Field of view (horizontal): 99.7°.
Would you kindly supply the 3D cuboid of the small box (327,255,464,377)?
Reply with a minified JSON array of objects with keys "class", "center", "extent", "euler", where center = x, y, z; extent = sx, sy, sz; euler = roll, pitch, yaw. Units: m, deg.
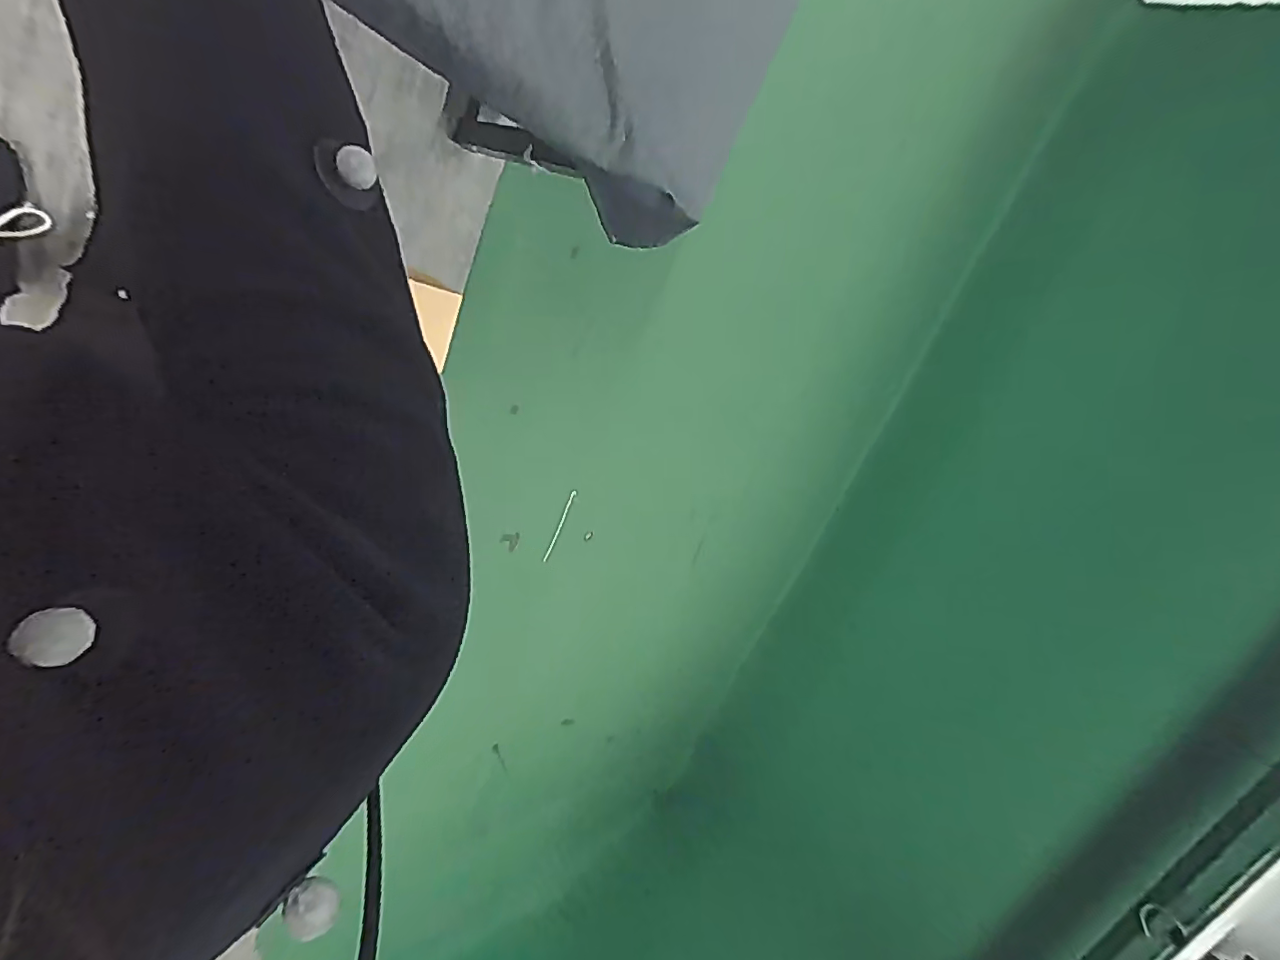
[{"class":"small box","center":[-0.480,-0.320,1.056],"extent":[0.179,0.176,0.168],"euler":[2,117,-48]}]
